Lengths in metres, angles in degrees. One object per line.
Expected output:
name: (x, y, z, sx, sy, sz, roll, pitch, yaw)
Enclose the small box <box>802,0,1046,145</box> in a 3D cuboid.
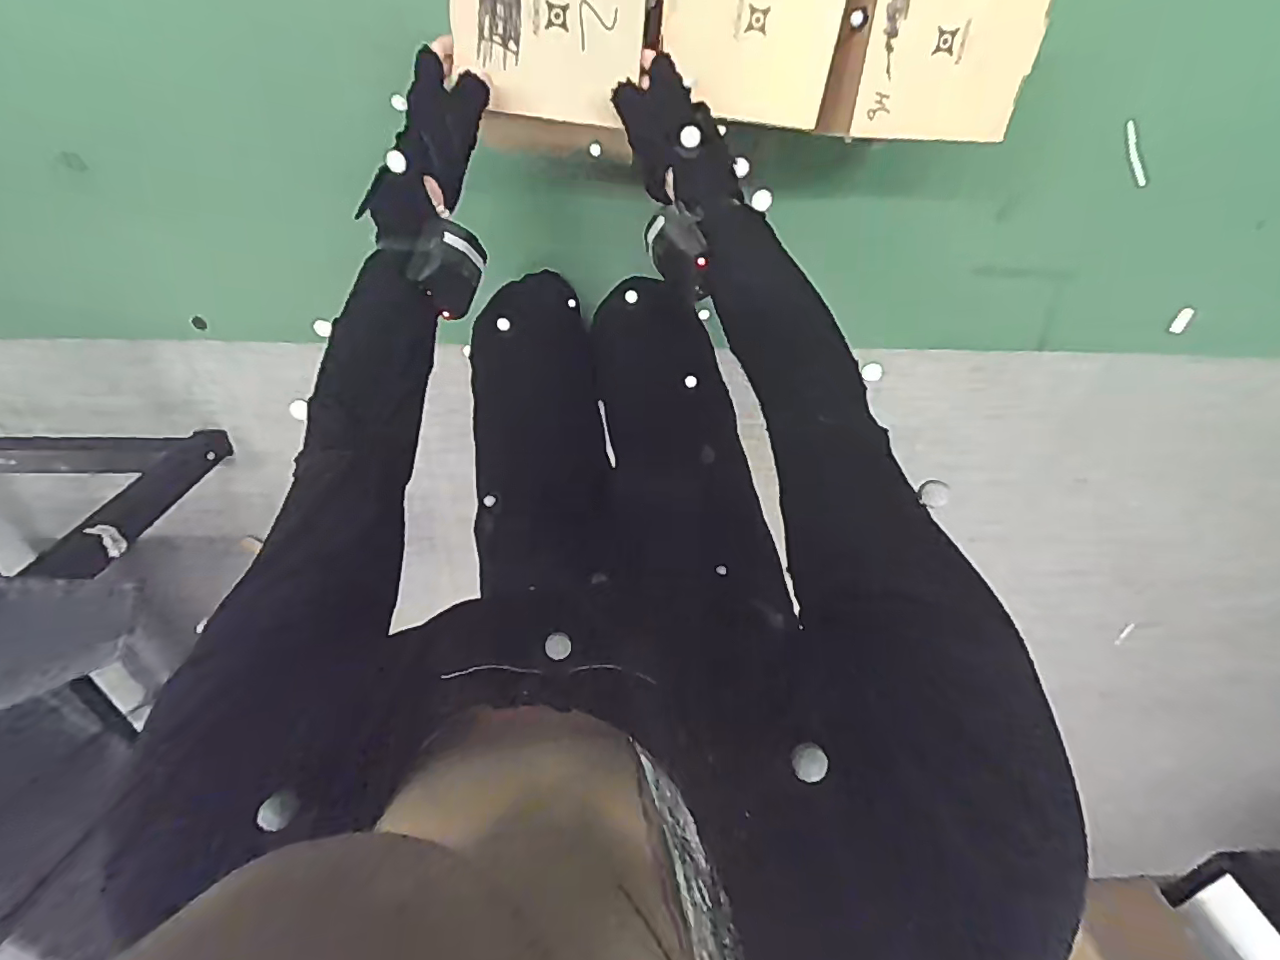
small box: (0.306, -0.485, 0.610, 0.179, 0.176, 0.168, 1, 124, -4)
